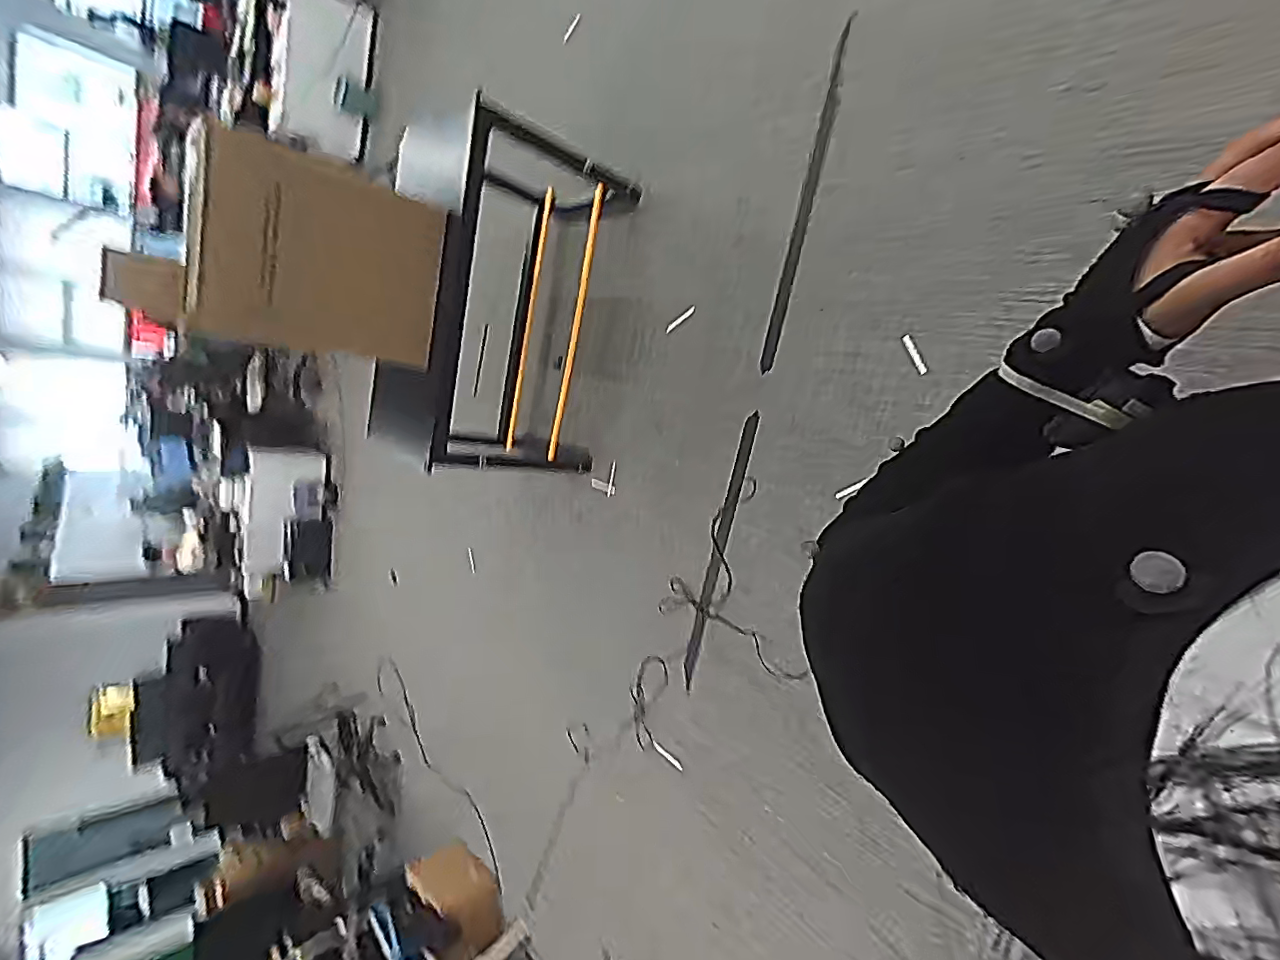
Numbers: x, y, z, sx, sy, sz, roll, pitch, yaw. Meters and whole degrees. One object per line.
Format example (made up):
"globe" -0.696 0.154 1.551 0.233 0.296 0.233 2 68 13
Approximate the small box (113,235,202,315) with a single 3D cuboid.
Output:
"small box" -1.337 -0.565 1.497 0.179 0.176 0.168 25 106 43
